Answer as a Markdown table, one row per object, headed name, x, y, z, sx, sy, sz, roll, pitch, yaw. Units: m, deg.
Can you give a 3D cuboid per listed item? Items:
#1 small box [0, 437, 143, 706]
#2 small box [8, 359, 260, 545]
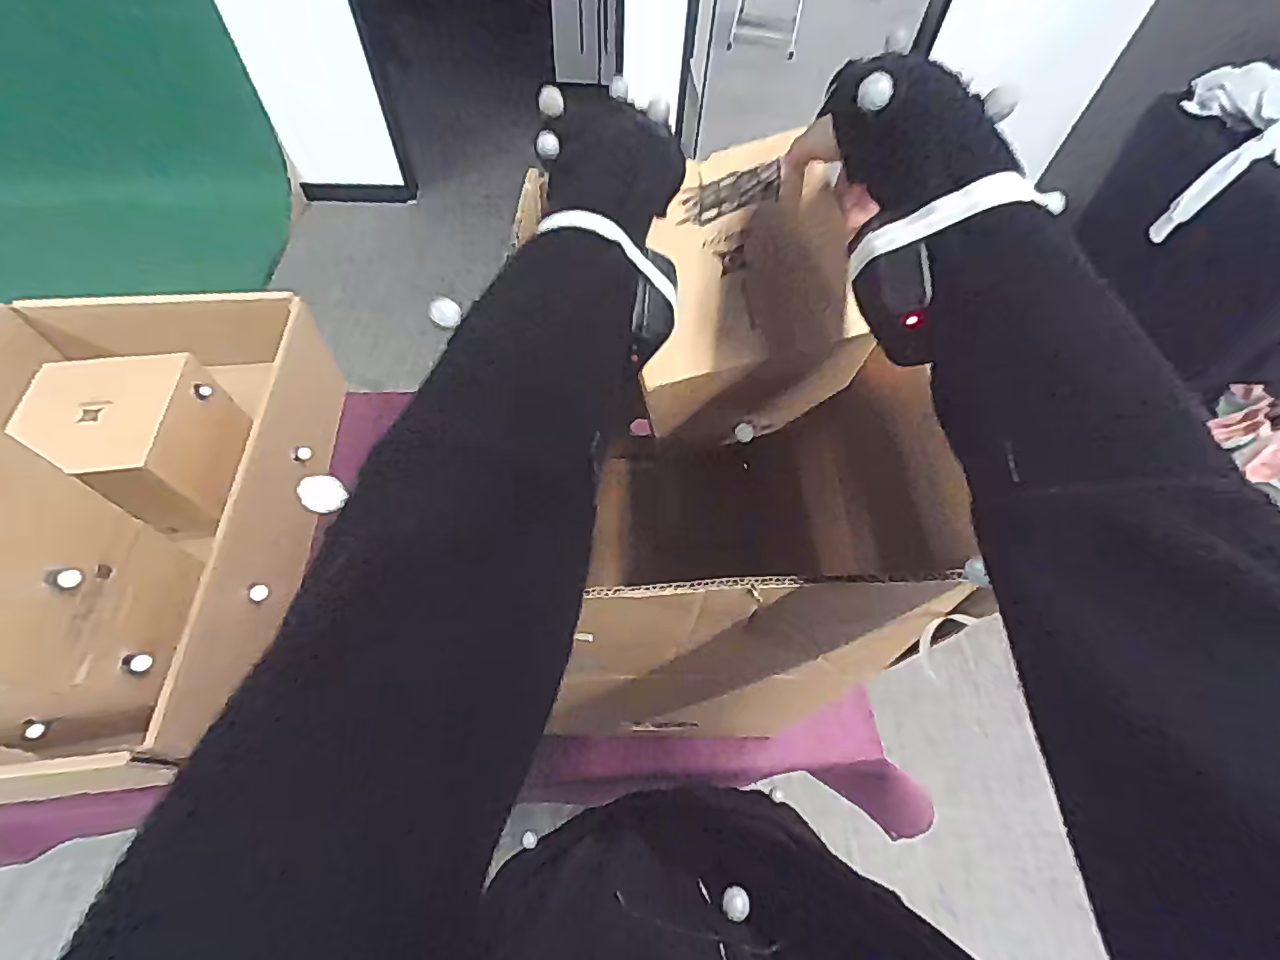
| name | x | y | z | sx | sy | sz | roll | pitch | yaw |
| --- | --- | --- | --- | --- | --- | --- | --- | --- | --- |
| small box | -0.567 | 0.079 | 0.423 | 0.179 | 0.176 | 0.168 | -4 | 57 | -5 |
| small box | -0.626 | -0.027 | 0.688 | 0.168 | 0.176 | 0.179 | -6 | 58 | -6 |
